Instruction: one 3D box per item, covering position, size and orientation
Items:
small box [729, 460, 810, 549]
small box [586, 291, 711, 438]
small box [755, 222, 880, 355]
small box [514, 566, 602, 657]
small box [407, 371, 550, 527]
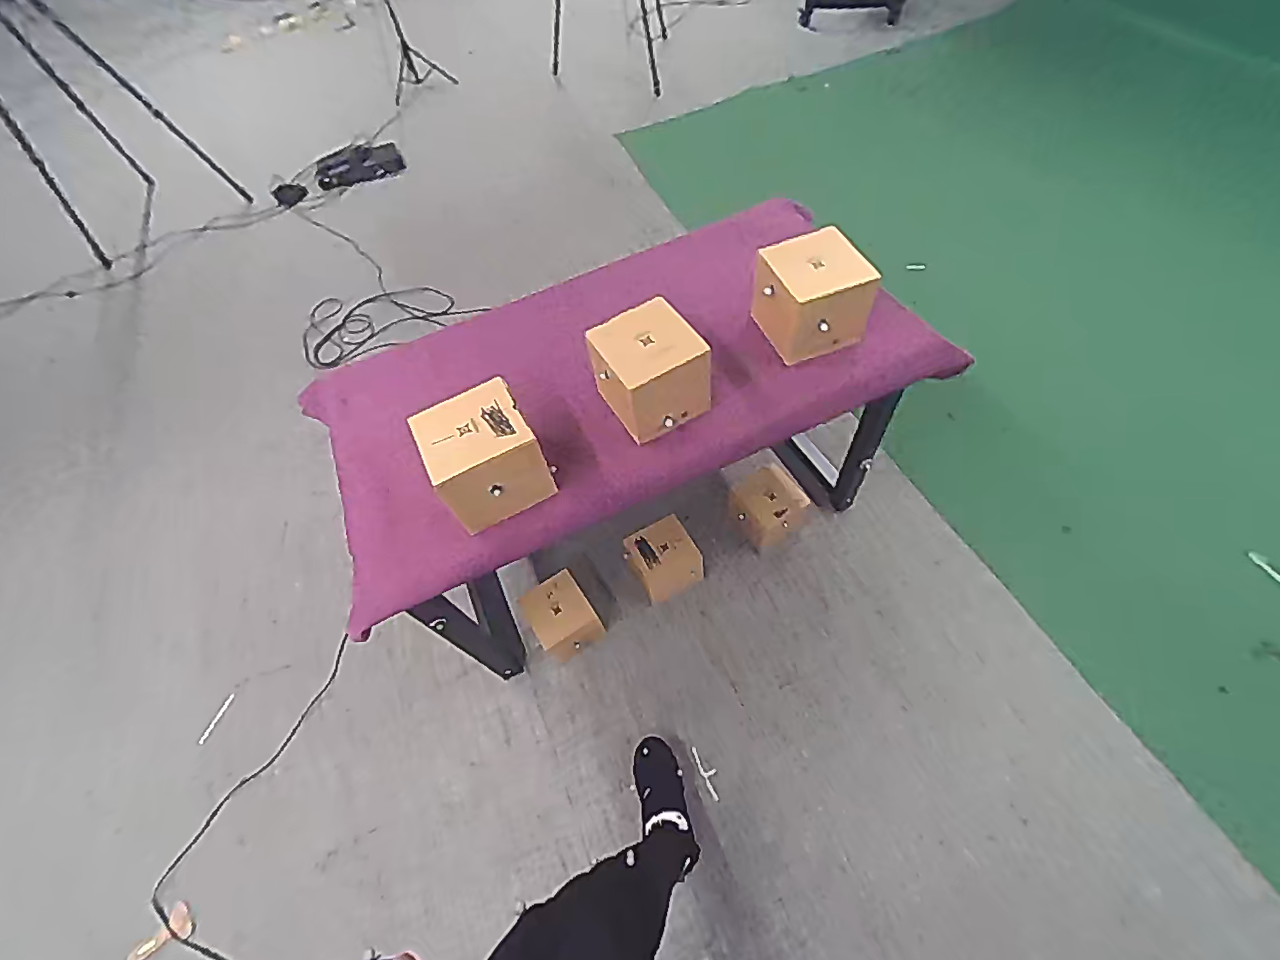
[{"bbox_3d":[0.385,0.079,1.651,0.168,0.176,0.179,-30,60,-12],"label":"small box"},{"bbox_3d":[0.018,-0.213,1.015,0.168,0.176,0.179,-28,59,-10],"label":"small box"},{"bbox_3d":[0.342,-0.372,1.079,0.168,0.176,0.179,-19,57,-5],"label":"small box"},{"bbox_3d":[-0.225,0.381,1.530,0.168,0.176,0.179,-32,60,-13],"label":"small box"},{"bbox_3d":[-0.270,-0.050,0.943,0.179,0.176,0.168,-27,58,-10],"label":"small box"}]
